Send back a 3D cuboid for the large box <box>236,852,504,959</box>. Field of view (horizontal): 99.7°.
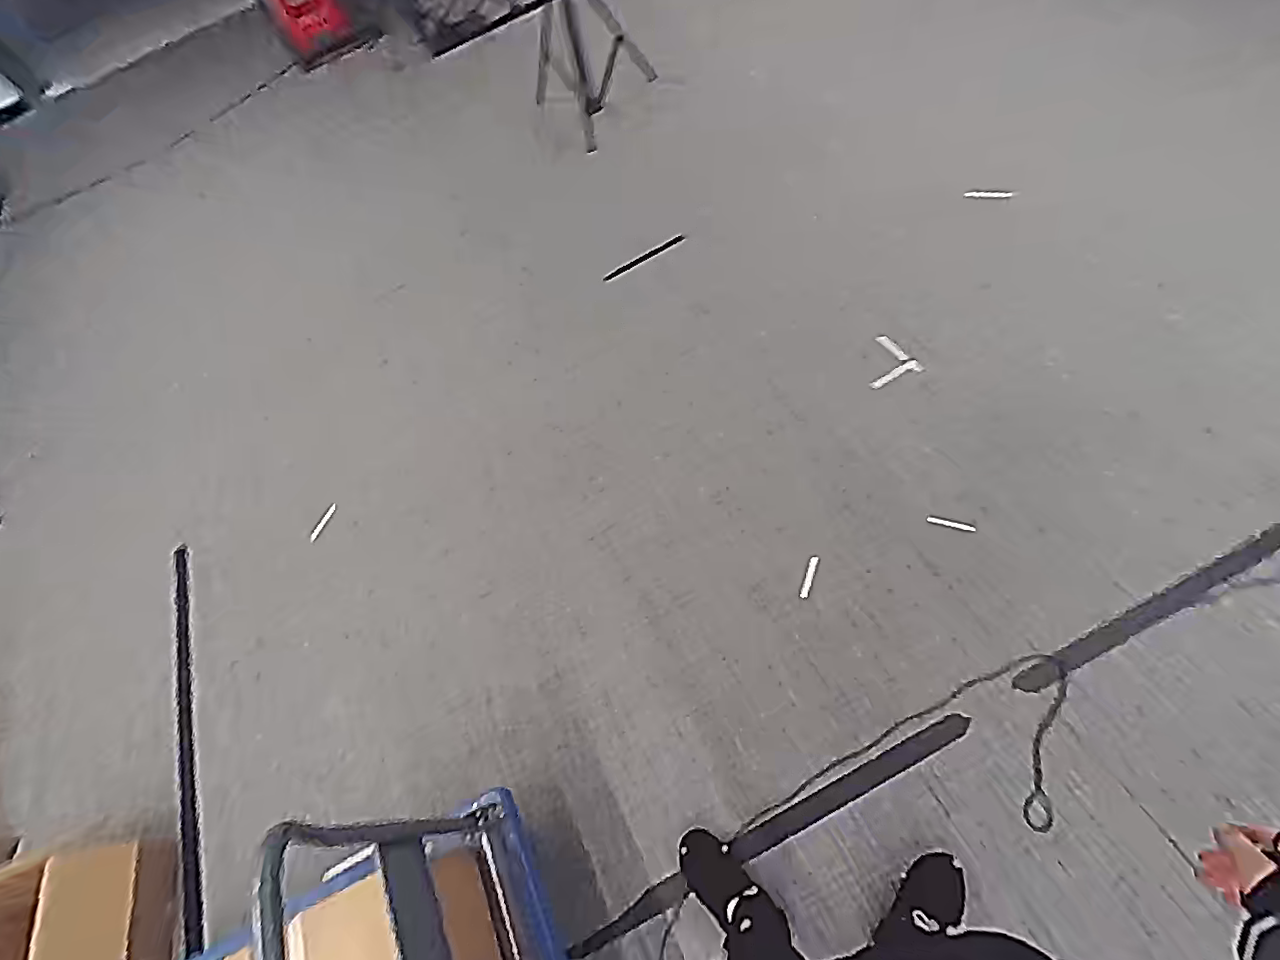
[{"bbox_3d":[-0.422,0.931,0.906,0.320,0.320,0.408,-29,58,-4],"label":"large box"}]
